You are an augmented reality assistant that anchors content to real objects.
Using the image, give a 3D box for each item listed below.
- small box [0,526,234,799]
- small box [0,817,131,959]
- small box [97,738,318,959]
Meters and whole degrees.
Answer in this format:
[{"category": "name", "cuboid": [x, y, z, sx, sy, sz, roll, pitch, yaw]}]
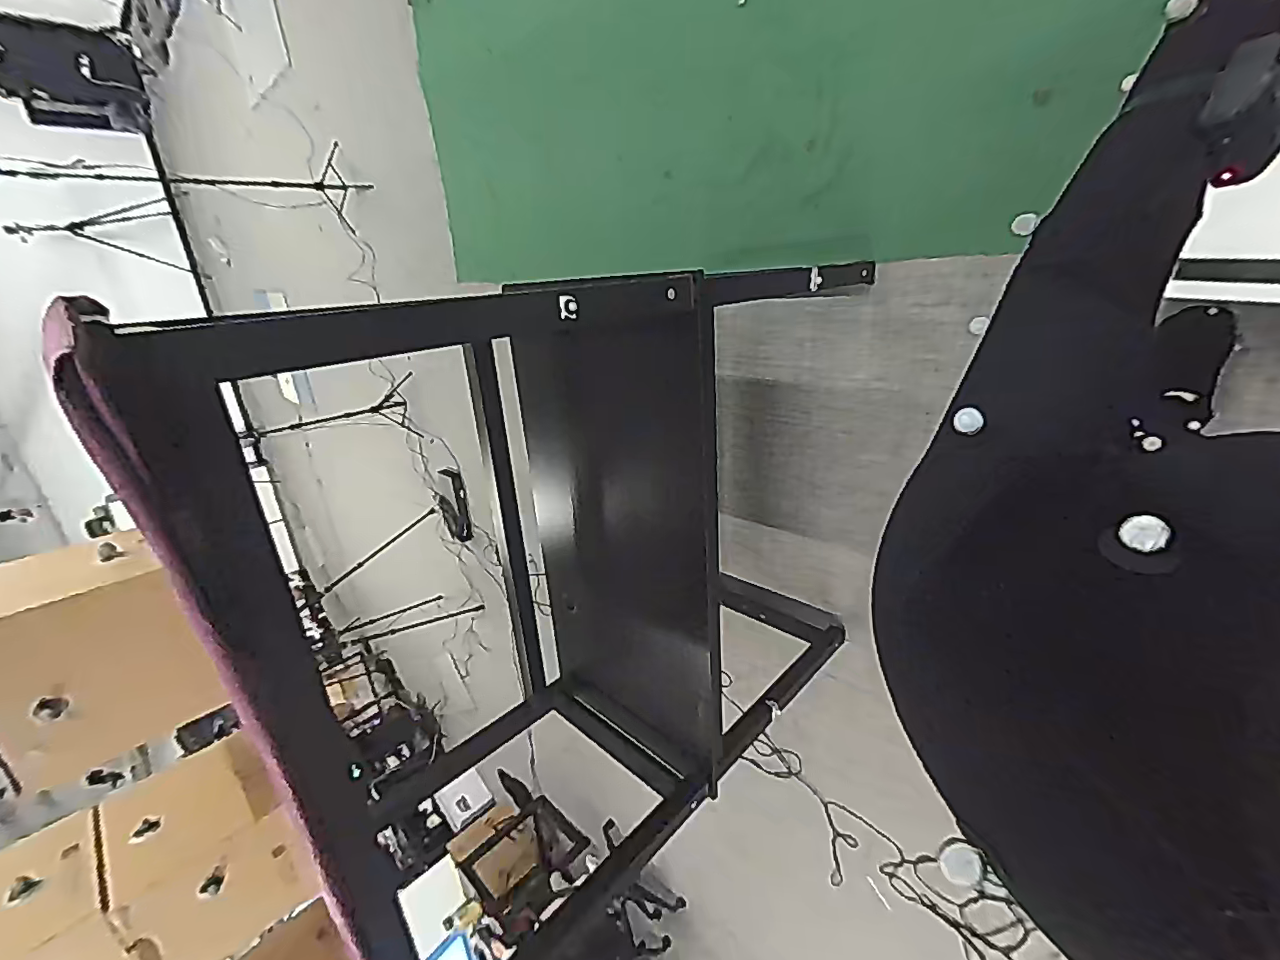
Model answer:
[{"category": "small box", "cuboid": [-0.558, 0.172, 0.566, 0.168, 0.176, 0.179, 16, 119, 45]}, {"category": "small box", "cuboid": [-0.642, 0.513, 0.566, 0.168, 0.176, 0.179, 18, 119, 41]}, {"category": "small box", "cuboid": [-0.525, 0.464, 0.672, 0.179, 0.176, 0.168, 18, 119, 43]}]
